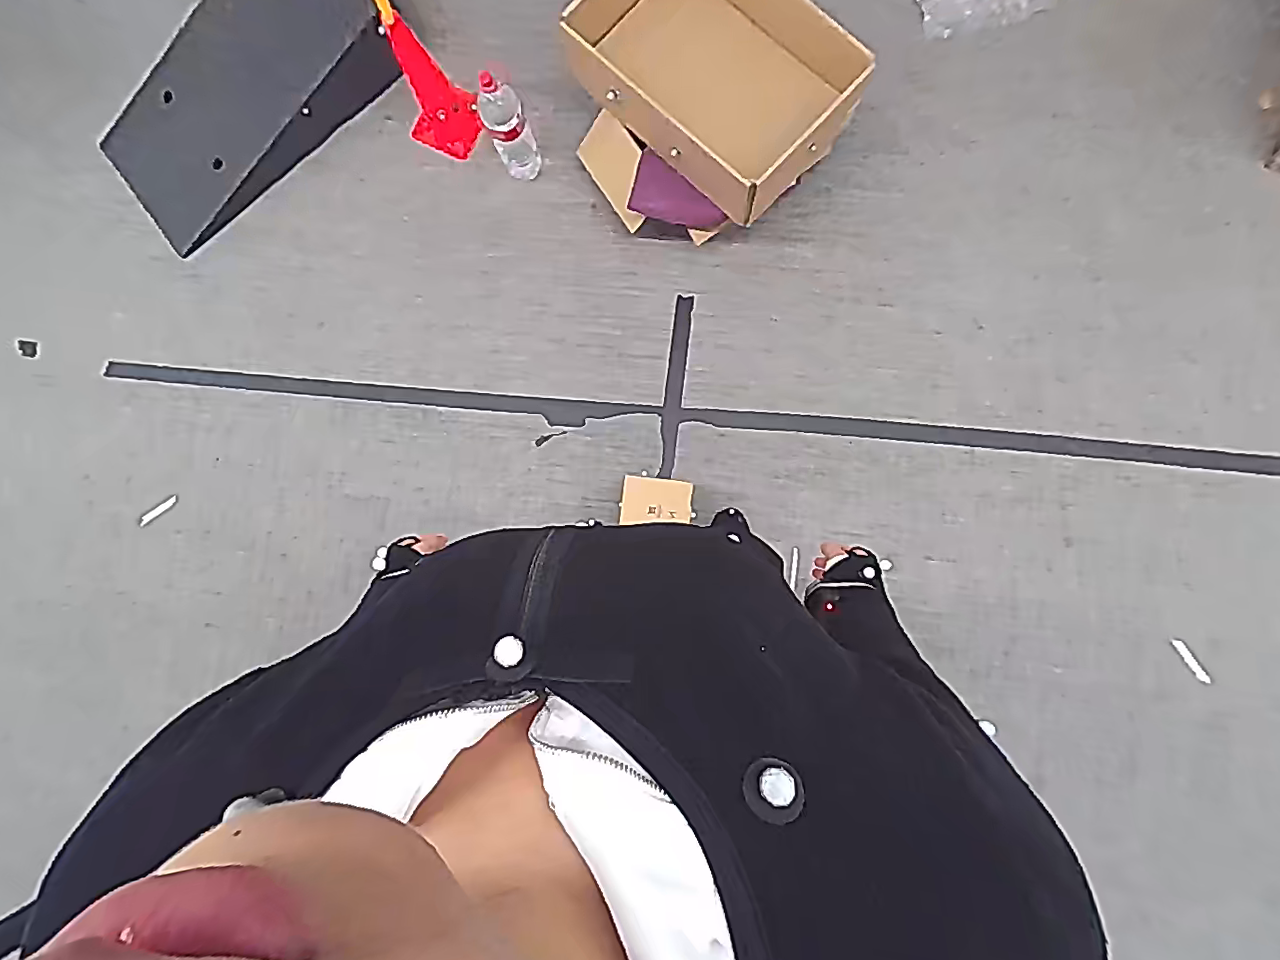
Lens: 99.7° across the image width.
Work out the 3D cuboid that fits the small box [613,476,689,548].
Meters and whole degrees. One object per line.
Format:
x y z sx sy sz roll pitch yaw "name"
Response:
0.033 0.084 1.430 0.179 0.176 0.168 7 88 4 "small box"
